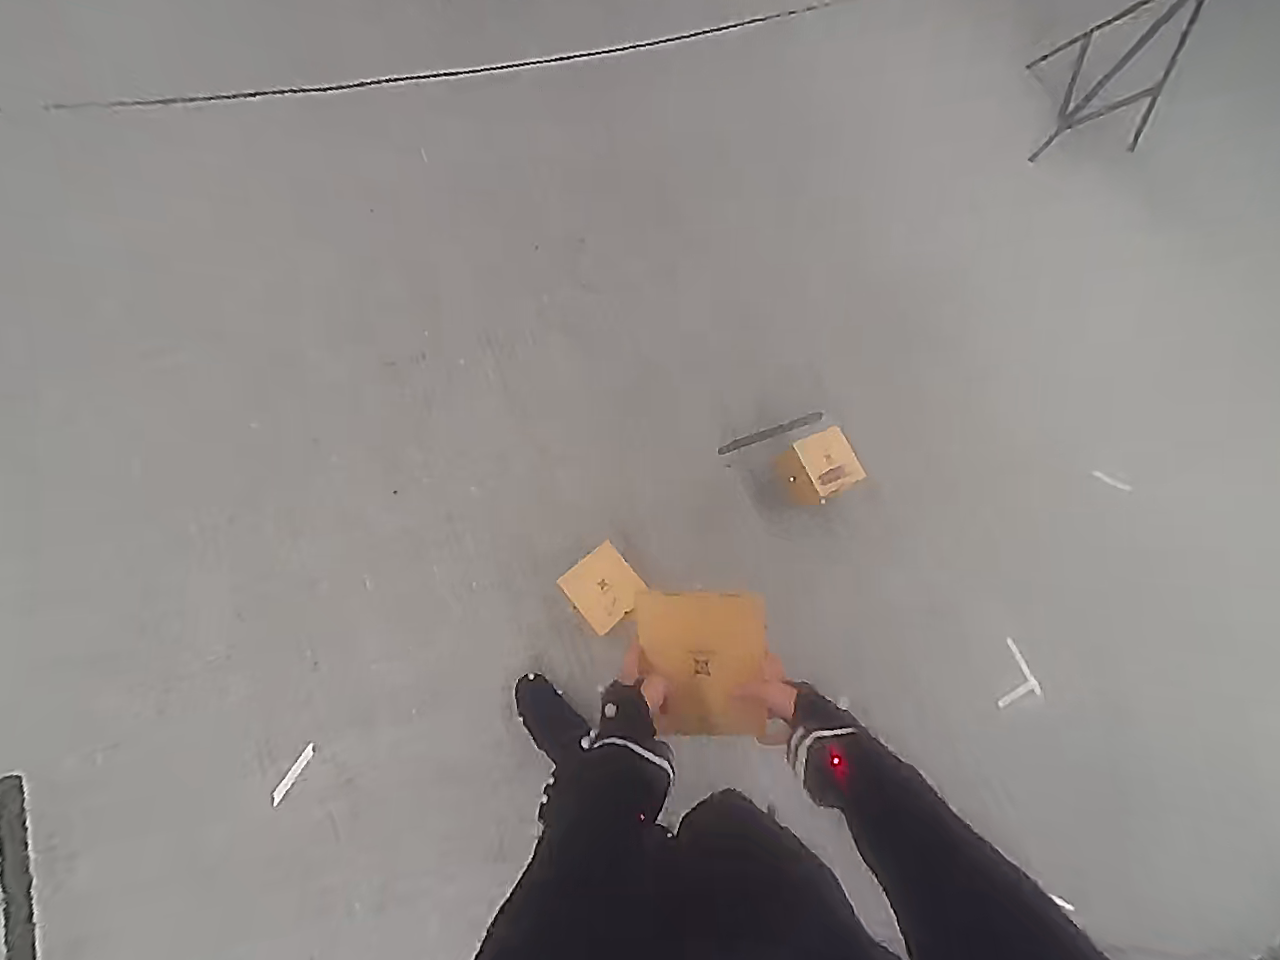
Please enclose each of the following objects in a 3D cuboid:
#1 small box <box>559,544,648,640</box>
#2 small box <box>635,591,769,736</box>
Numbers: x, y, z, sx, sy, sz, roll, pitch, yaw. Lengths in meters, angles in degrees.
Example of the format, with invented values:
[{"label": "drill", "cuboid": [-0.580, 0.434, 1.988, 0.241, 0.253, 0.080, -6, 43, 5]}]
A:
[{"label": "small box", "cuboid": [-0.098, 0.296, 1.397, 0.168, 0.176, 0.179, -38, 82, -19]}, {"label": "small box", "cuboid": [0.079, 0.247, 0.765, 0.168, 0.176, 0.179, 0, 78, -2]}]
